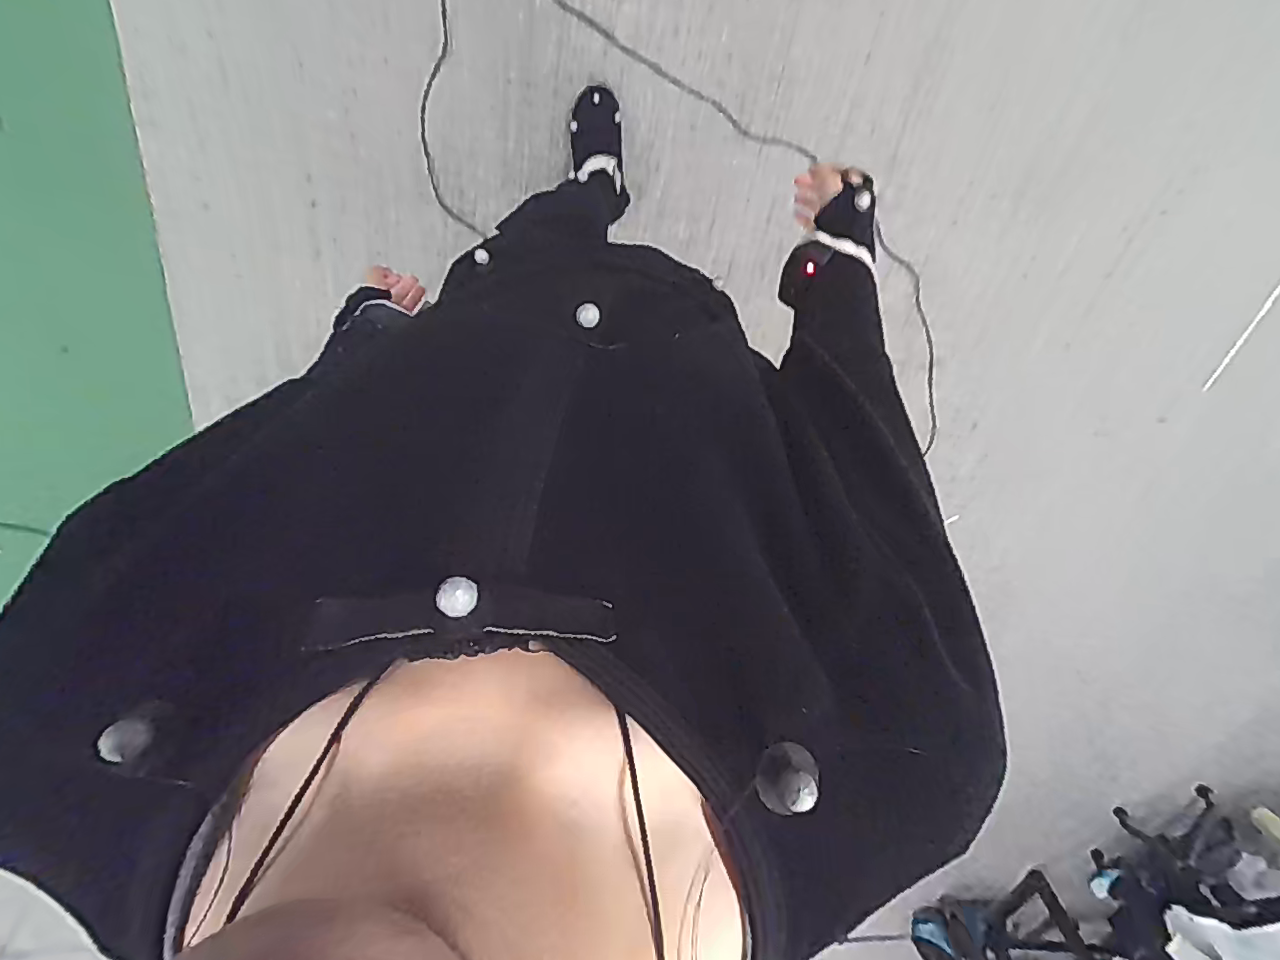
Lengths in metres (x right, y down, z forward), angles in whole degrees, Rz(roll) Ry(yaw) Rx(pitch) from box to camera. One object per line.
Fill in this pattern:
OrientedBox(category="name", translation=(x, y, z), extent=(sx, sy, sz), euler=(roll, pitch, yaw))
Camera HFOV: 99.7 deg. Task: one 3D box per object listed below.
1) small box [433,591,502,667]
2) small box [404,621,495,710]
OrientedBox(category="small box", translation=(-0.540, 0.471, 1.716), extent=(0.179, 0.176, 0.168), euler=(5, 117, -3))
OrientedBox(category="small box", translation=(-0.543, 0.533, 1.565), extent=(0.179, 0.176, 0.168), euler=(-9, 118, 4))
